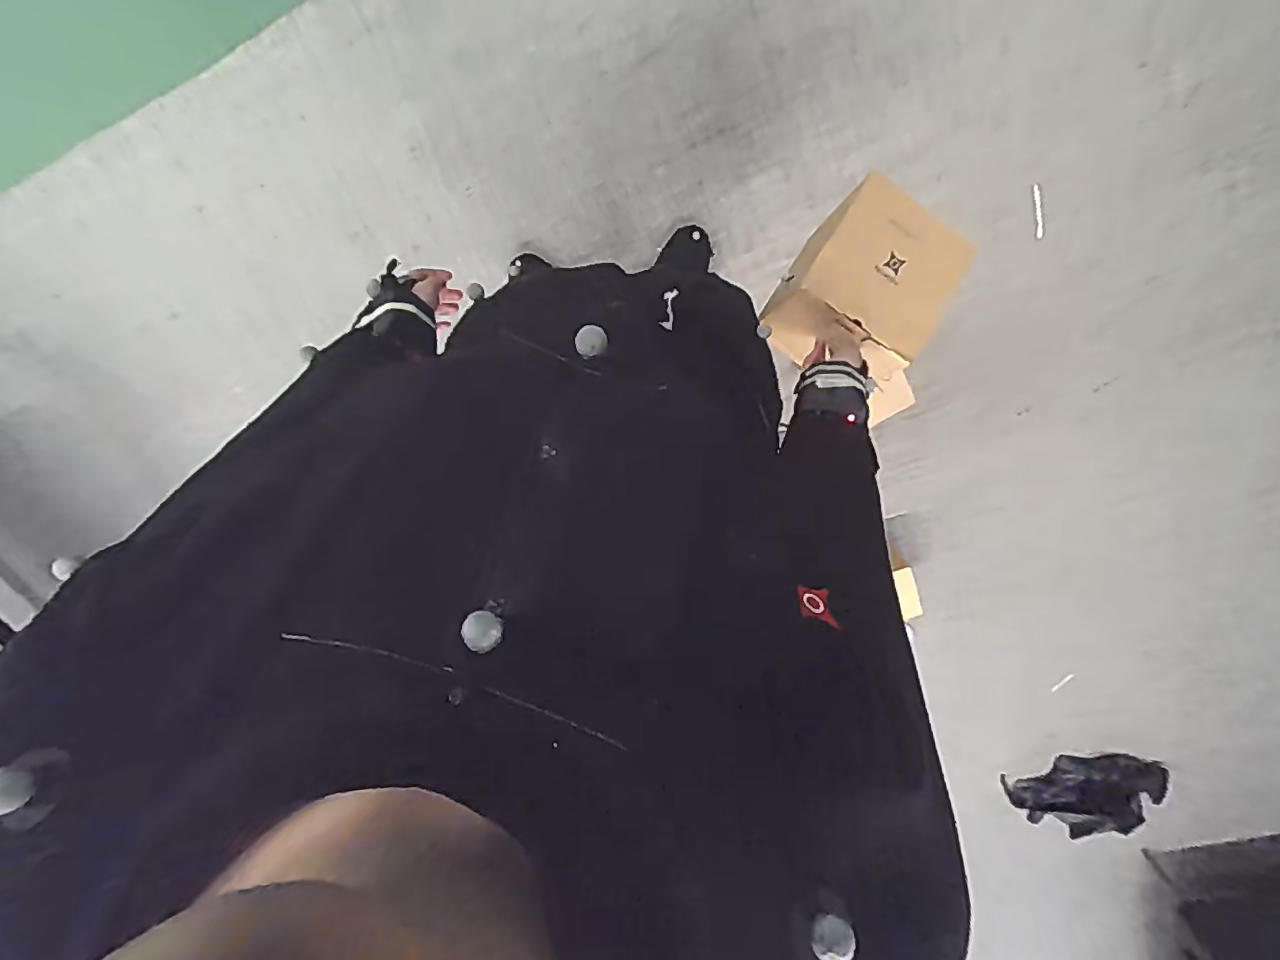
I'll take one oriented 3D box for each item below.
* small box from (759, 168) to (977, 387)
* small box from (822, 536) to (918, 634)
[{"bbox_3d":[0.277,-0.244,0.703,0.168,0.176,0.179,33,82,-6],"label":"small box"},{"bbox_3d":[0.615,0.277,1.456,0.179,0.176,0.168,-20,114,12],"label":"small box"}]
